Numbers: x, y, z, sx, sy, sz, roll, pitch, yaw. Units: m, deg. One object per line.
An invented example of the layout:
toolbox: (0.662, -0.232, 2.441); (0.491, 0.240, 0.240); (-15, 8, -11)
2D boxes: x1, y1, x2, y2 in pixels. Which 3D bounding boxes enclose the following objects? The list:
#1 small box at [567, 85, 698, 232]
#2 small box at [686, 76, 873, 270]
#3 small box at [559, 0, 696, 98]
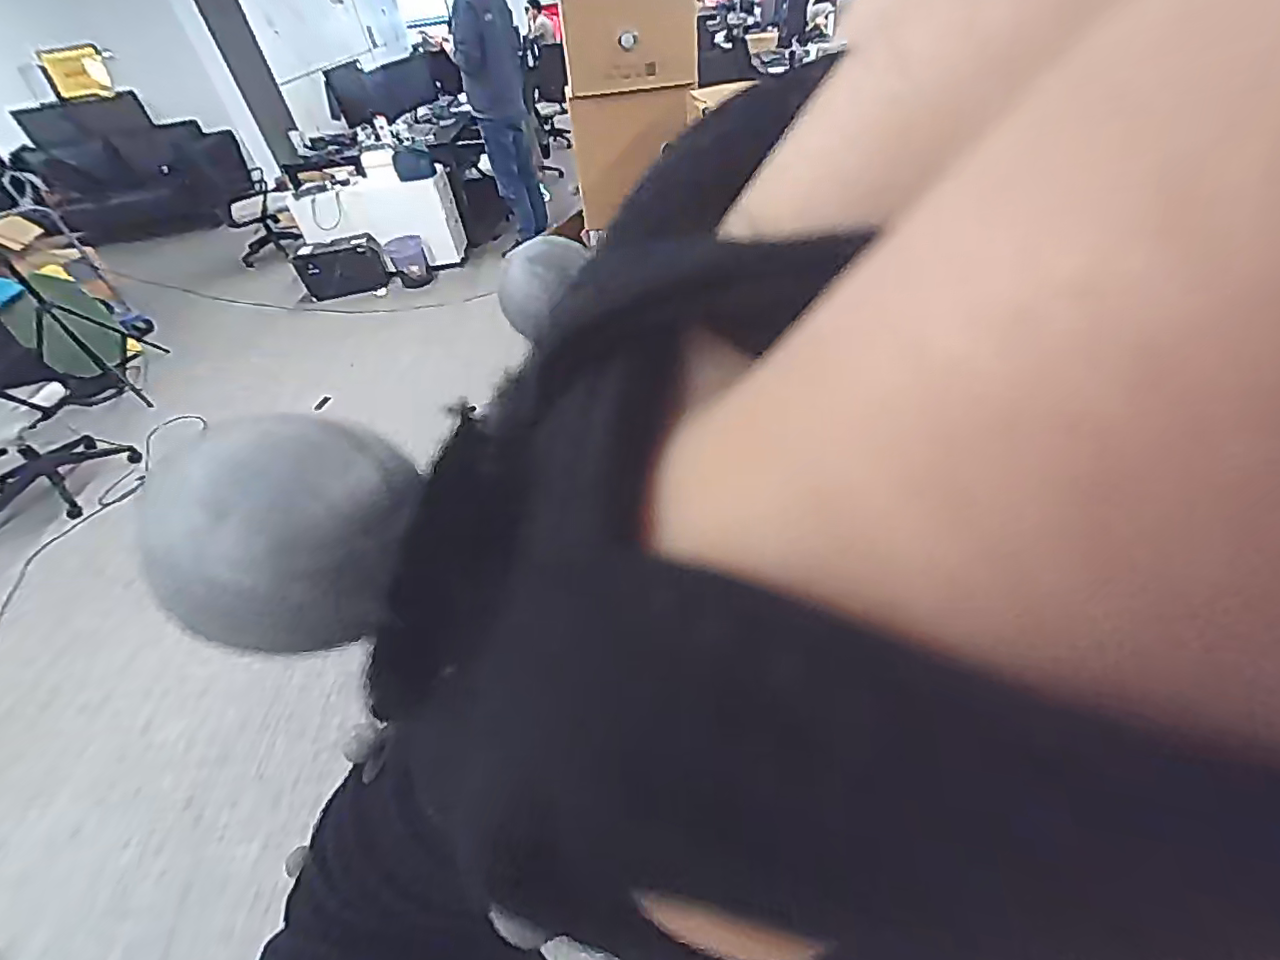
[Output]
small box: (-0.010, -0.497, 0.826); (0.179, 0.176, 0.168); (-9, 40, -2)
small box: (0.161, -0.381, 0.678); (0.179, 0.176, 0.168); (-9, 45, -1)
small box: (-0.022, -0.617, 0.713); (0.168, 0.176, 0.179); (-8, 41, -2)
